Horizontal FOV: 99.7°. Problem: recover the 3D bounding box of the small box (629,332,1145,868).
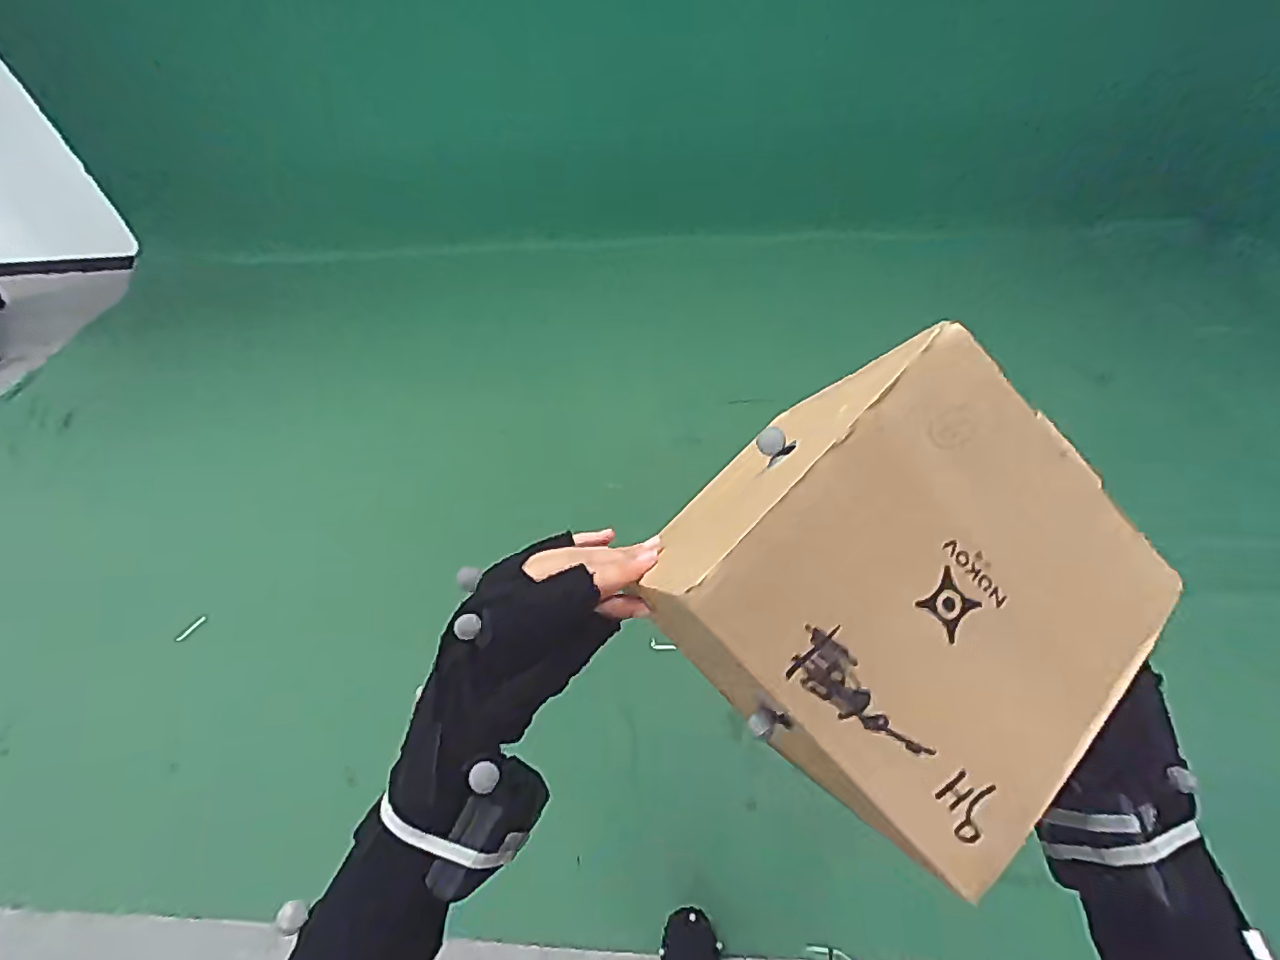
[{"bbox_3d":[0.115,0.055,0.314,0.179,0.176,0.168,-44,91,-15],"label":"small box"}]
